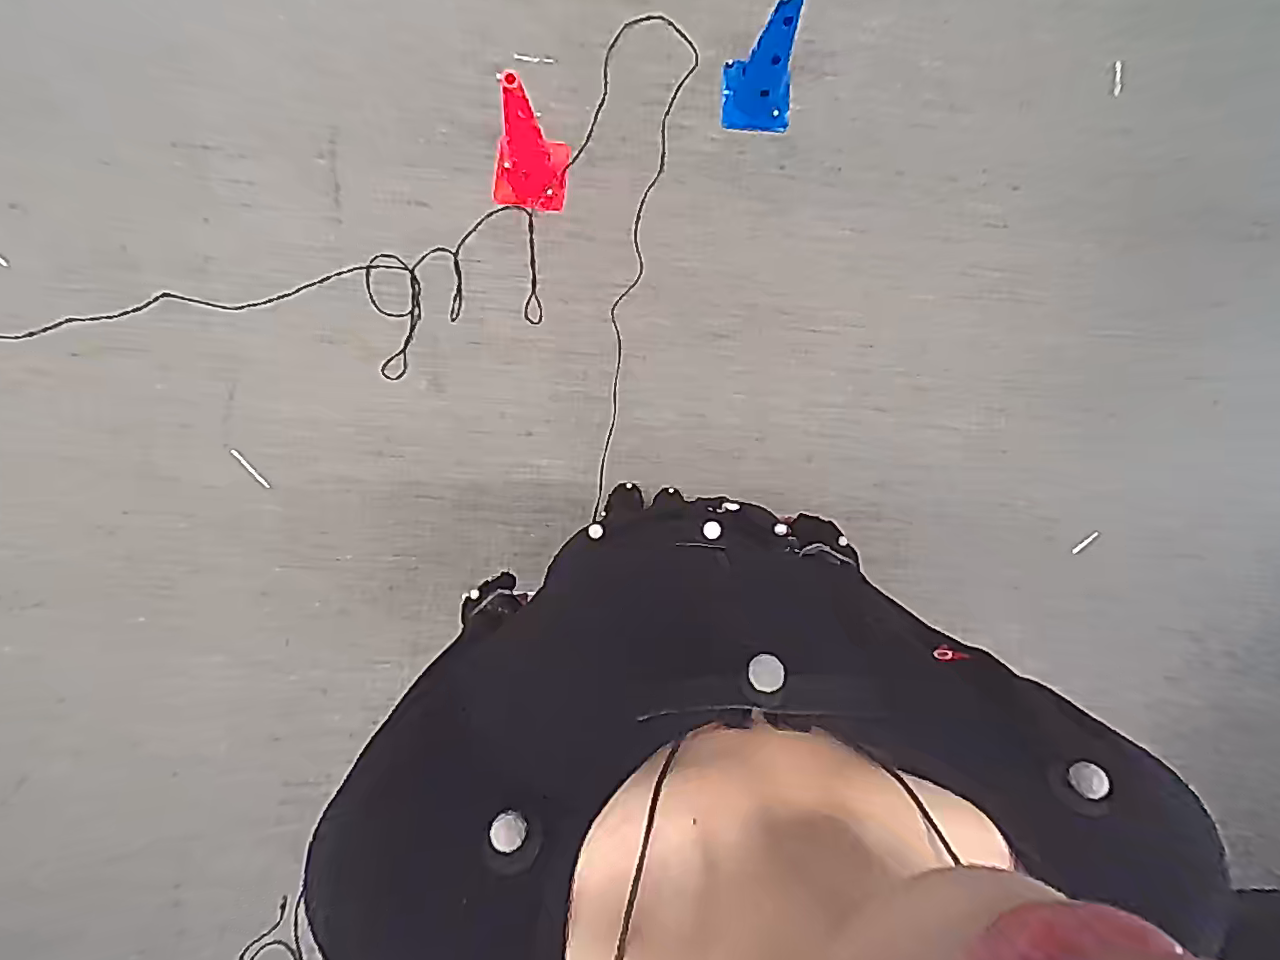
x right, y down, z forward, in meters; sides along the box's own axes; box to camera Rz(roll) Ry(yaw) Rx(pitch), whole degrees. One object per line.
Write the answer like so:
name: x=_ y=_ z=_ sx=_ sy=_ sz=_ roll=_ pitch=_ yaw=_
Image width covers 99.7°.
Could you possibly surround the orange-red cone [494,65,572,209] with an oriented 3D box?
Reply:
orange-red cone: x=-0.288 y=-0.878 z=1.346 sx=0.198 sy=0.360 sz=0.199 roll=8 pitch=87 yaw=-4
